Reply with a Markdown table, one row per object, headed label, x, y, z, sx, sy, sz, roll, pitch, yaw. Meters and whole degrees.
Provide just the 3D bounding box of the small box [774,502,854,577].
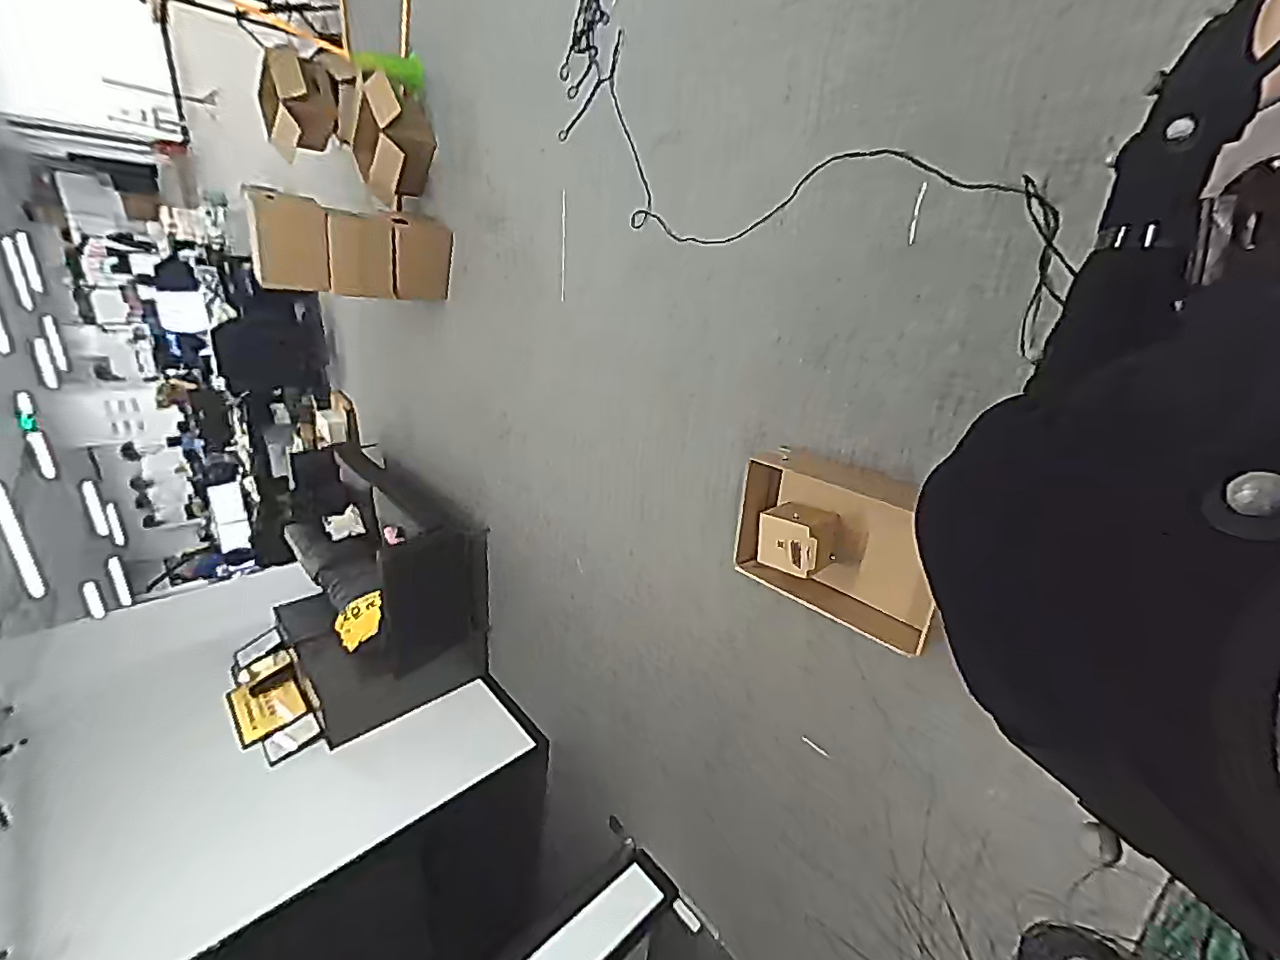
| label | x | y | z | sx | sy | sz | roll | pitch | yaw |
| --- | --- | --- | --- | --- | --- | --- | --- | --- | --- |
| small box | 0.537 | 0.174 | 1.667 | 0.179 | 0.176 | 0.168 | 17 | 113 | 46 |
